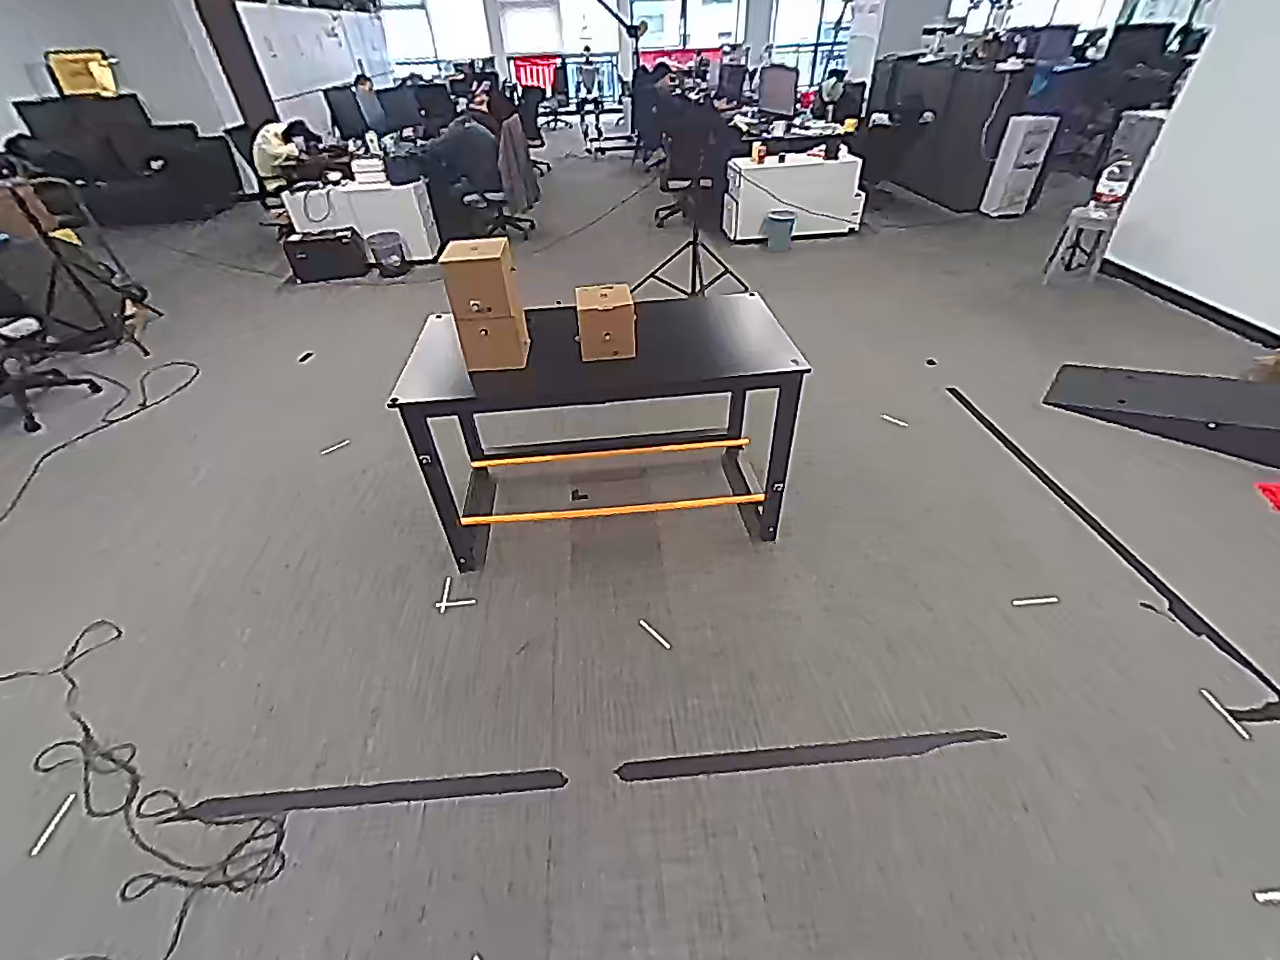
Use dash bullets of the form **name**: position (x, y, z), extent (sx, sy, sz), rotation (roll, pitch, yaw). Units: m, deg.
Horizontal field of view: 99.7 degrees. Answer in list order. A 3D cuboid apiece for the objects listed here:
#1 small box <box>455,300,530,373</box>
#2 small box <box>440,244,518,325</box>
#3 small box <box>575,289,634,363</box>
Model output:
- **small box**: position (-0.442, -0.435, 1.649), extent (0.179, 0.176, 0.168), rotation (-4, 40, -3)
- **small box**: position (-0.450, -0.559, 1.544), extent (0.168, 0.176, 0.179), rotation (-6, 41, -2)
- **small box**: position (-0.109, -0.475, 1.681), extent (0.168, 0.176, 0.179), rotation (-6, 40, -4)
